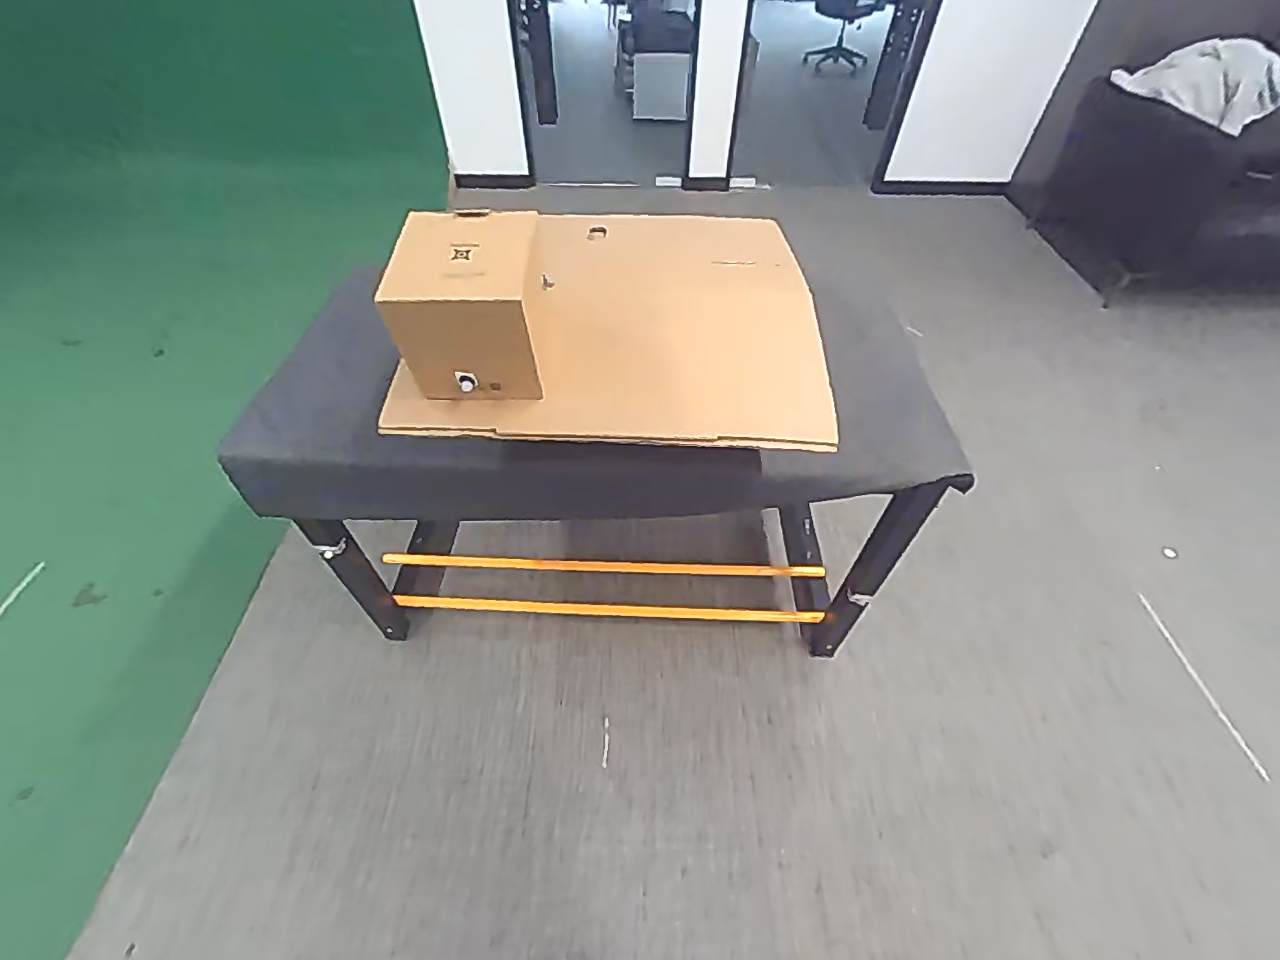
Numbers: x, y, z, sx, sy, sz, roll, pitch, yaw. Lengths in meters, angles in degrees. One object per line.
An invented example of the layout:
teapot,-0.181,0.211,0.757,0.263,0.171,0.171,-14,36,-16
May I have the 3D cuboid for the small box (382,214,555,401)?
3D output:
small box,-0.209,-0.225,0.716,0.168,0.176,0.179,-1,58,0
